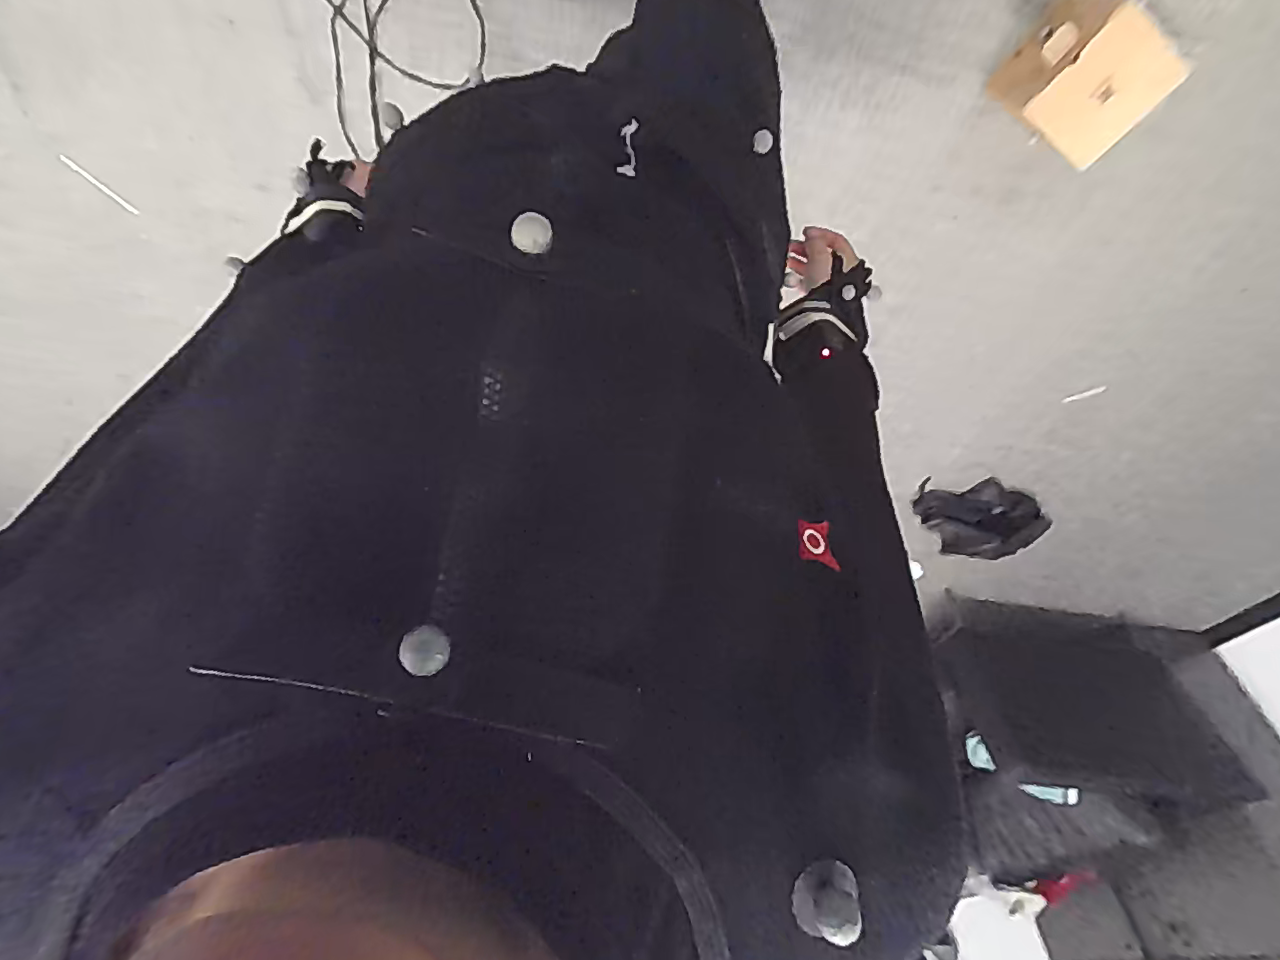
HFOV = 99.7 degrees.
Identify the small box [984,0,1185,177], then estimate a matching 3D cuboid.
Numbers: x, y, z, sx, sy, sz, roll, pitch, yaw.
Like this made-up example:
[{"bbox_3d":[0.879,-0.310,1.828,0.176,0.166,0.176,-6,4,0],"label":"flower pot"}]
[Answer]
[{"bbox_3d":[0.729,-0.659,0.905,0.179,0.176,0.168,23,134,-21],"label":"small box"}]
